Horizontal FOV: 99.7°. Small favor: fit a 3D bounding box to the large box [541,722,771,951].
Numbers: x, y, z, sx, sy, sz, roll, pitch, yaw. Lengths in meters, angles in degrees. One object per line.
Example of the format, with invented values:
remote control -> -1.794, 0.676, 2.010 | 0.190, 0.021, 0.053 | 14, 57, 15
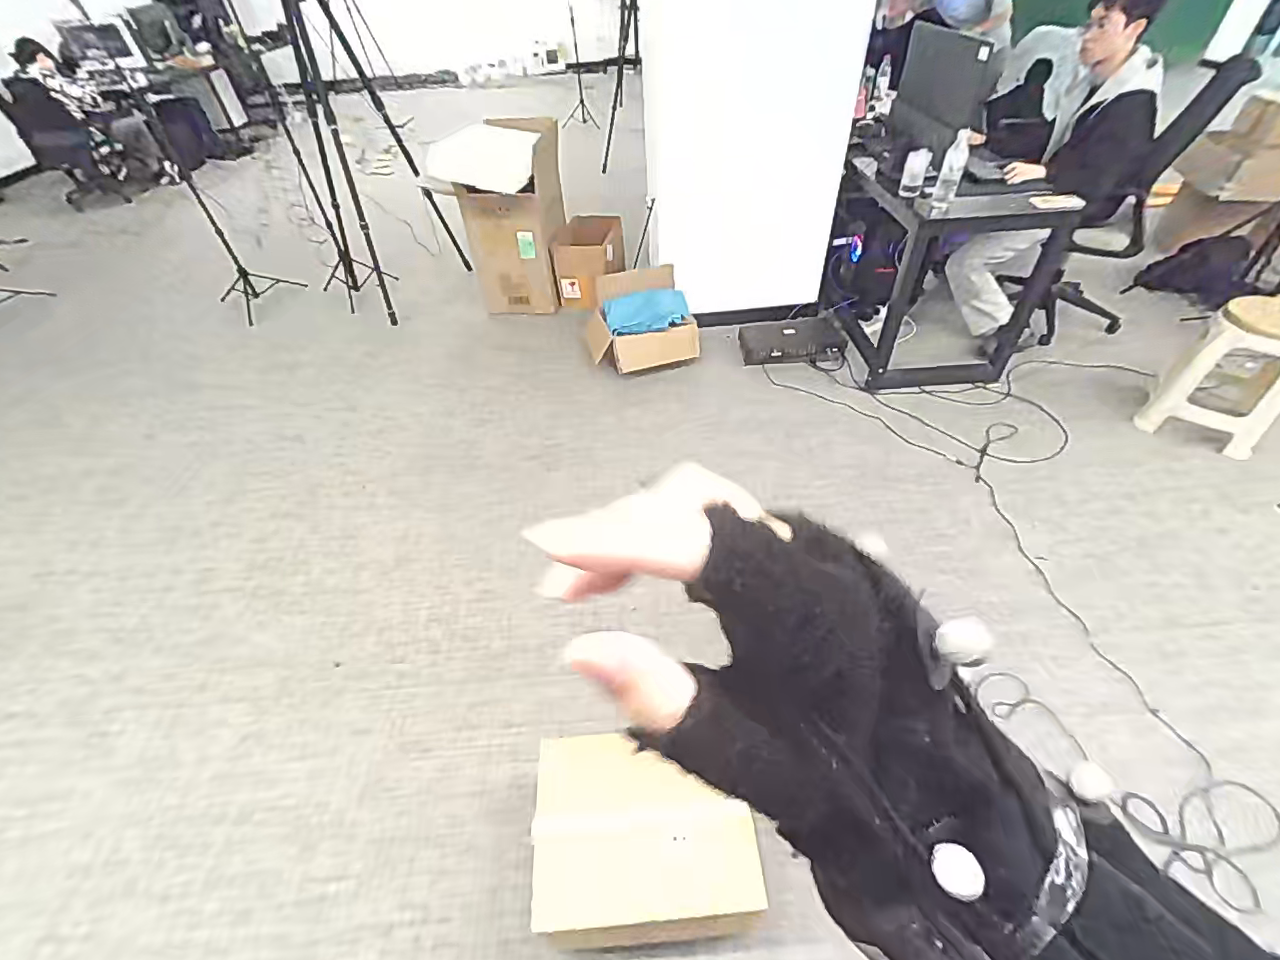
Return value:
large box -> 0.021, 0.740, 1.124 | 0.408, 0.320, 0.320 | -5, 45, -1
